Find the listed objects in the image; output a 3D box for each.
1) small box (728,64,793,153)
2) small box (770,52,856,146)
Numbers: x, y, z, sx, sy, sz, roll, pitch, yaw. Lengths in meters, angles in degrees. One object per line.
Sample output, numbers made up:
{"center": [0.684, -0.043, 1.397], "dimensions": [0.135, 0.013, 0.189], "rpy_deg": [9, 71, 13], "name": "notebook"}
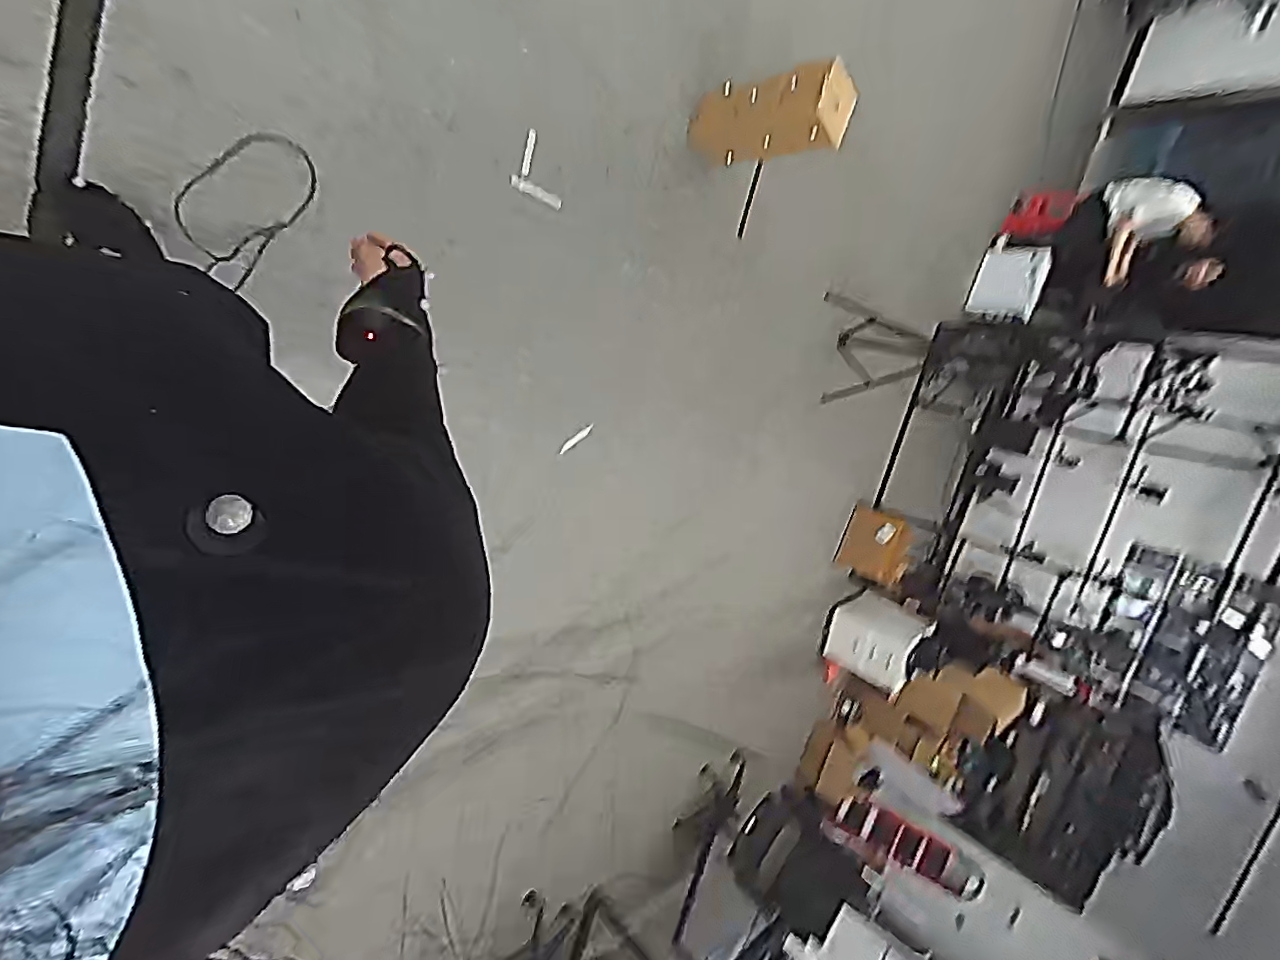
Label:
{"center": [0.418, -1.206, 1.775], "dimensions": [0.179, 0.176, 0.168], "rpy_deg": [18, 94, -48], "name": "small box"}
{"center": [0.532, -1.163, 1.668], "dimensions": [0.179, 0.176, 0.168], "rpy_deg": [18, 94, -48], "name": "small box"}
